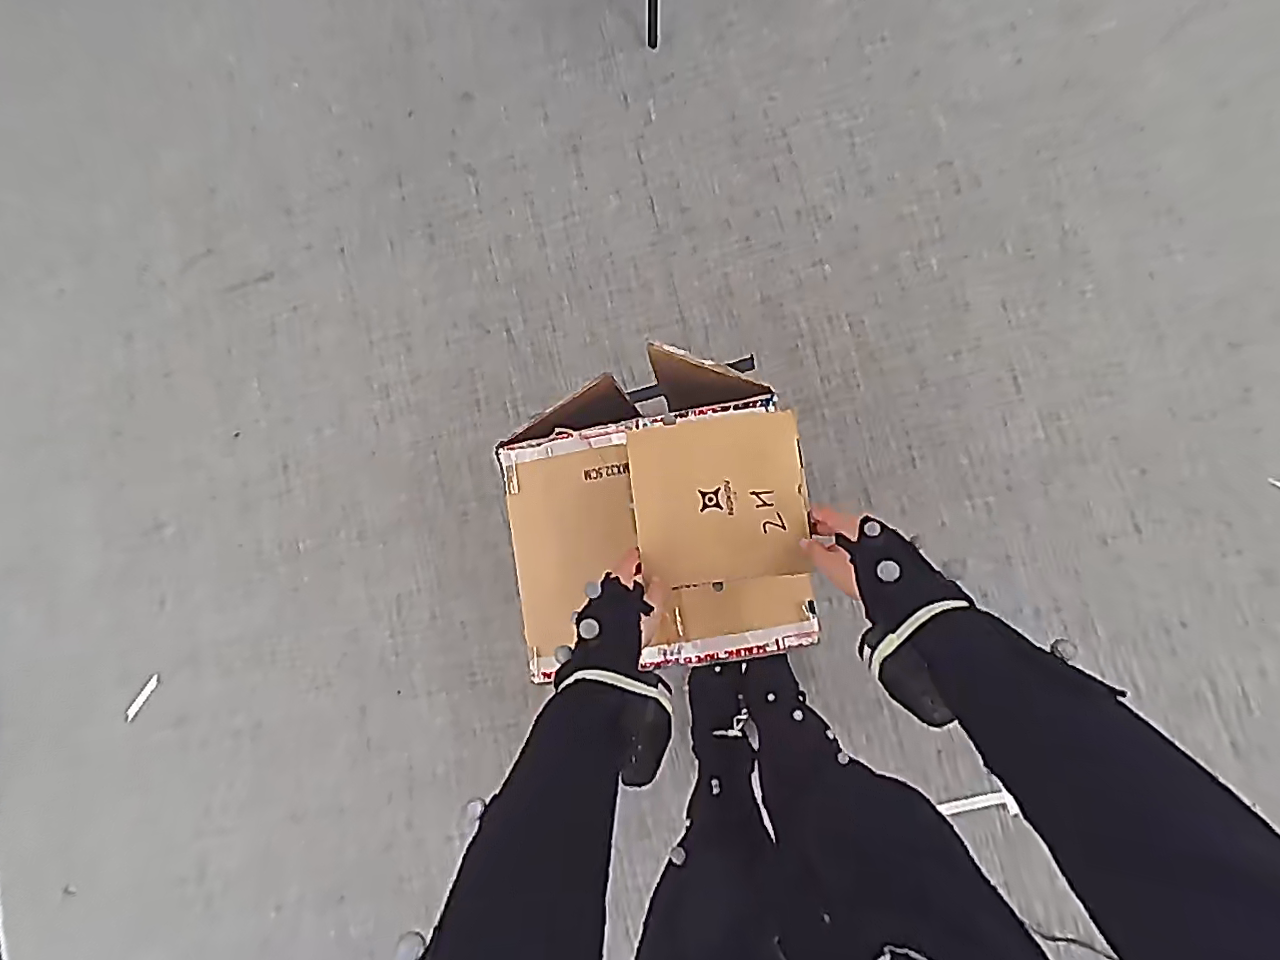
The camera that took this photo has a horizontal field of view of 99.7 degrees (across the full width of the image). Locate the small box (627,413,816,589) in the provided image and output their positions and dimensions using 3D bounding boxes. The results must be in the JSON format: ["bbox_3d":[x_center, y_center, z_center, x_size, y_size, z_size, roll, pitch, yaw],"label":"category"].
[{"bbox_3d":[0.089,0.027,0.625,0.179,0.176,0.168,-7,87,5],"label":"small box"}]
